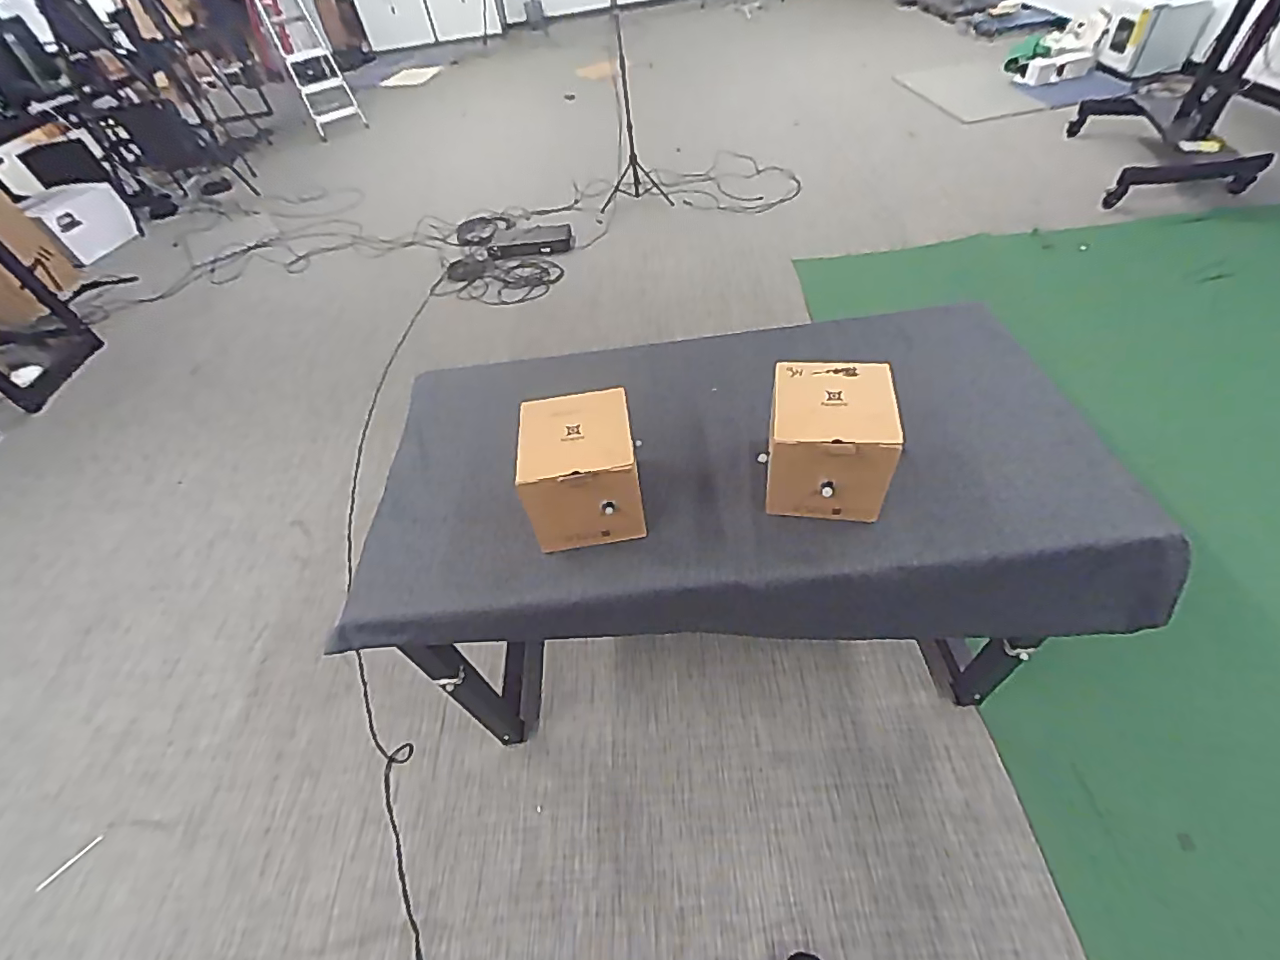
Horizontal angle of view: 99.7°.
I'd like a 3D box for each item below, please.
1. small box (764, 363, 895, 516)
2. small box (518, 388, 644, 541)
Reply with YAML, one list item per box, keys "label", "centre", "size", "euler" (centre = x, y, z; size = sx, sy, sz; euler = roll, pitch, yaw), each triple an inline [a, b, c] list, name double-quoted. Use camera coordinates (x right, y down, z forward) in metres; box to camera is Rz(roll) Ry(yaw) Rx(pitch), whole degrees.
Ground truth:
- label: "small box"
  centre: [0.283, -0.061, 0.839]
  size: [0.168, 0.176, 0.179]
  euler: [4, 50, 11]
- label: "small box"
  centre: [-0.089, -0.018, 0.856]
  size: [0.168, 0.176, 0.179]
  euler: [-8, 46, -1]
